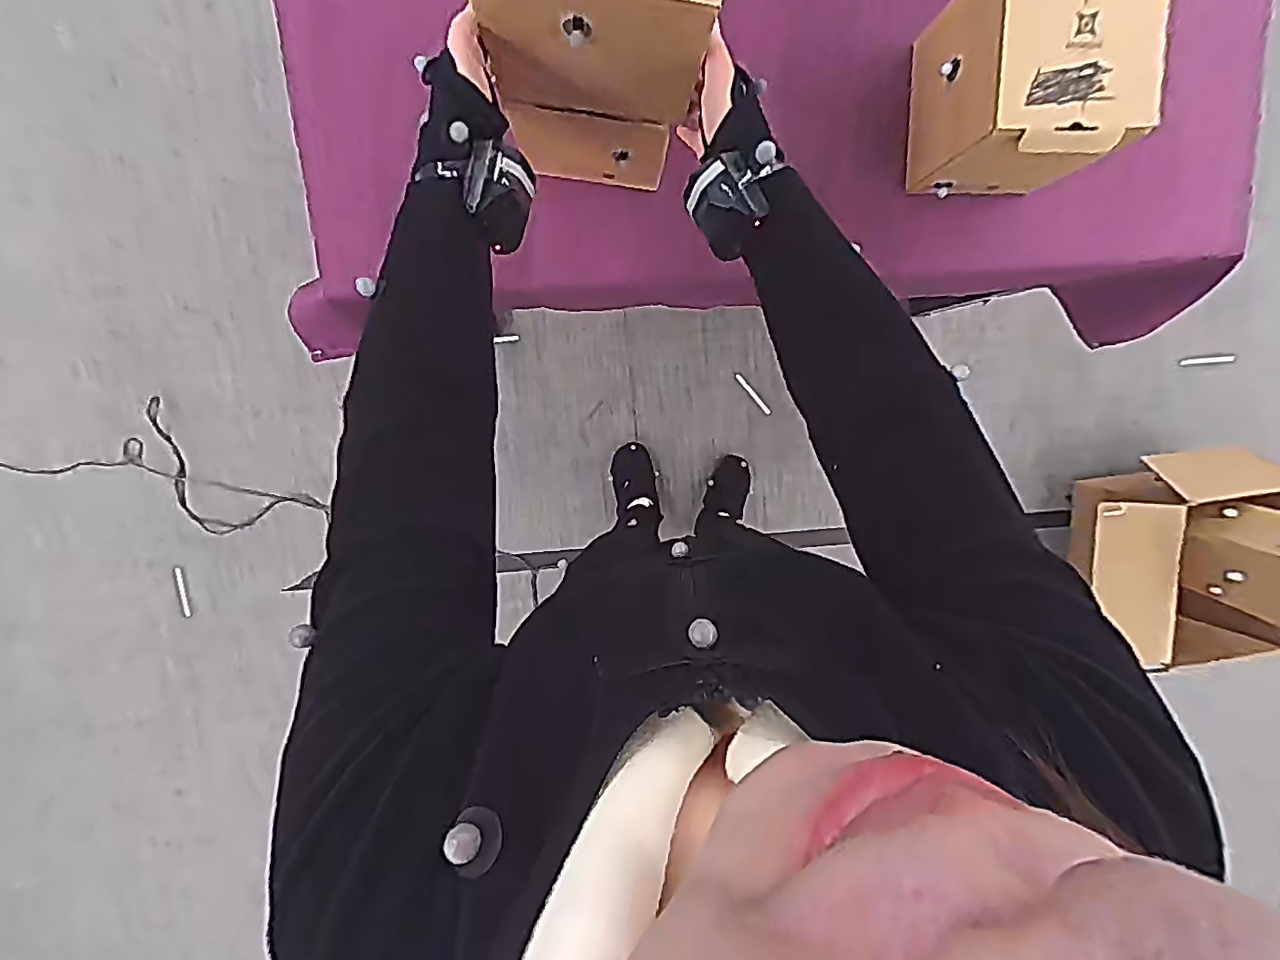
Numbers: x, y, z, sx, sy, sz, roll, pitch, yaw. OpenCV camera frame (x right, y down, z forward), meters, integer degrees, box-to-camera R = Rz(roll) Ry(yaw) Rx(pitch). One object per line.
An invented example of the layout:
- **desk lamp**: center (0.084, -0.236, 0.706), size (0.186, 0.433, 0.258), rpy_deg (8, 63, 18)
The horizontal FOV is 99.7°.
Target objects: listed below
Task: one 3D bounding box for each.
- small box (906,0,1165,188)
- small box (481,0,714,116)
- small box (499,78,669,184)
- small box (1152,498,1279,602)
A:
- **small box**: center (0.419, -0.444, 0.601), size (0.168, 0.176, 0.179), rpy_deg (-1, 98, -3)
- **small box**: center (-0.030, -0.415, 0.417), size (0.179, 0.176, 0.168), rpy_deg (5, 100, -6)
- **small box**: center (-0.045, -0.445, 0.579), size (0.168, 0.176, 0.179), rpy_deg (7, 99, -5)
- **small box**: center (1.397, 0.157, 1.303), size (0.168, 0.176, 0.179), rpy_deg (-26, 103, 4)
